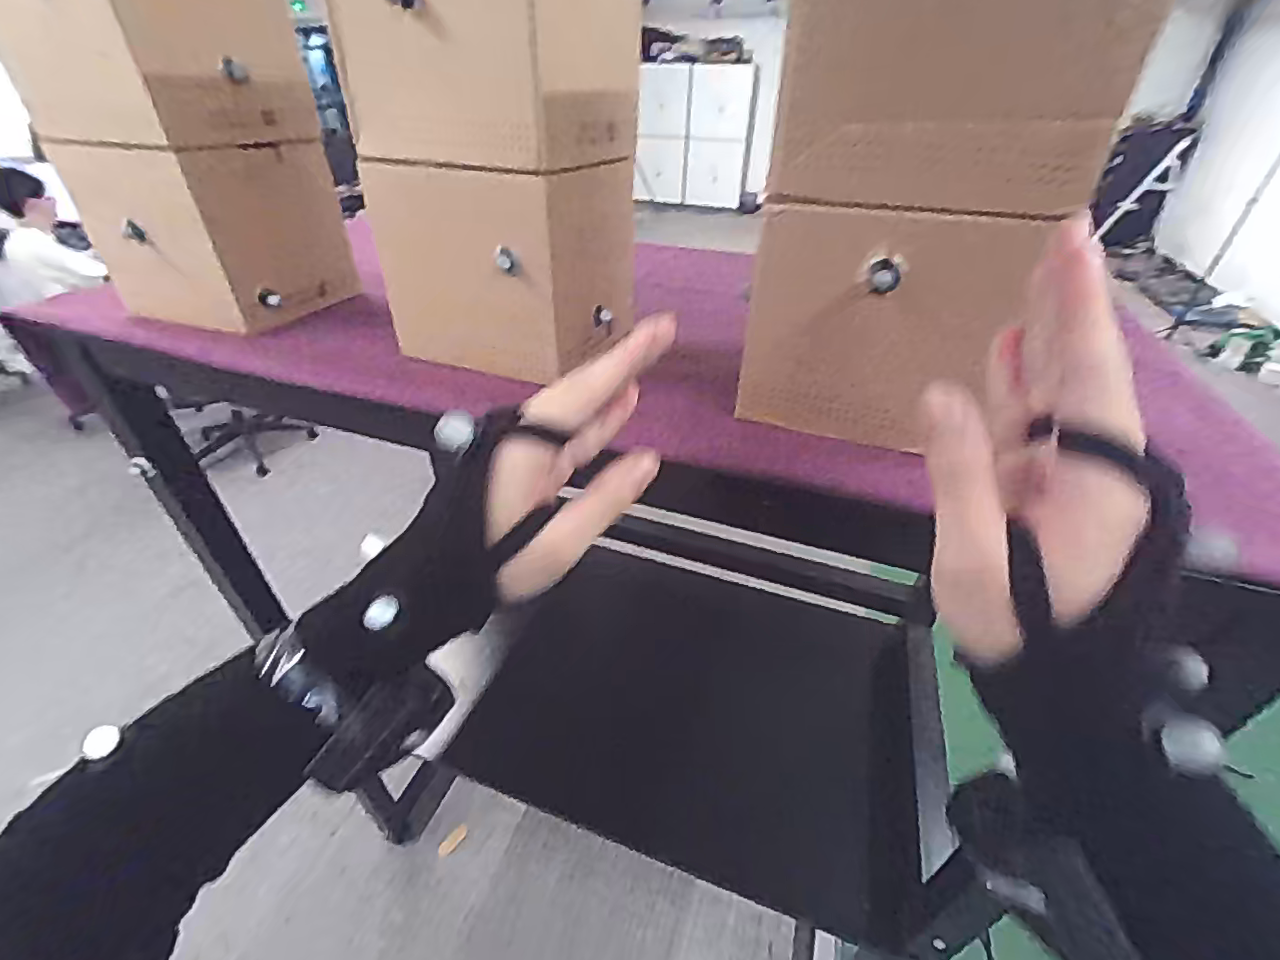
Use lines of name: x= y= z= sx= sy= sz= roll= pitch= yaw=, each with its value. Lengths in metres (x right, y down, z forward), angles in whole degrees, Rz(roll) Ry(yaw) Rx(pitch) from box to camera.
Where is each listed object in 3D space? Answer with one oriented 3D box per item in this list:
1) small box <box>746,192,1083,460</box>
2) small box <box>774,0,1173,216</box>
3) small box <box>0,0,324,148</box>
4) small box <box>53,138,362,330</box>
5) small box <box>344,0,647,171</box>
small box: x=0.190 y=-0.136 z=0.422 sx=0.179 sy=0.176 sz=0.168 roll=15 pitch=40 yaw=18
small box: x=0.190 y=-0.265 z=0.325 sx=0.179 sy=0.176 sz=0.168 roll=16 pitch=41 yaw=19
small box: x=-0.440 y=-0.410 z=0.498 sx=0.179 sy=0.176 sz=0.168 roll=13 pitch=38 yaw=15
small box: x=-0.446 y=-0.276 z=0.594 sx=0.179 sy=0.176 sz=0.168 roll=11 pitch=37 yaw=15
small box: x=-0.104 y=-0.342 z=0.417 sx=0.179 sy=0.176 sz=0.168 roll=14 pitch=38 yaw=18
